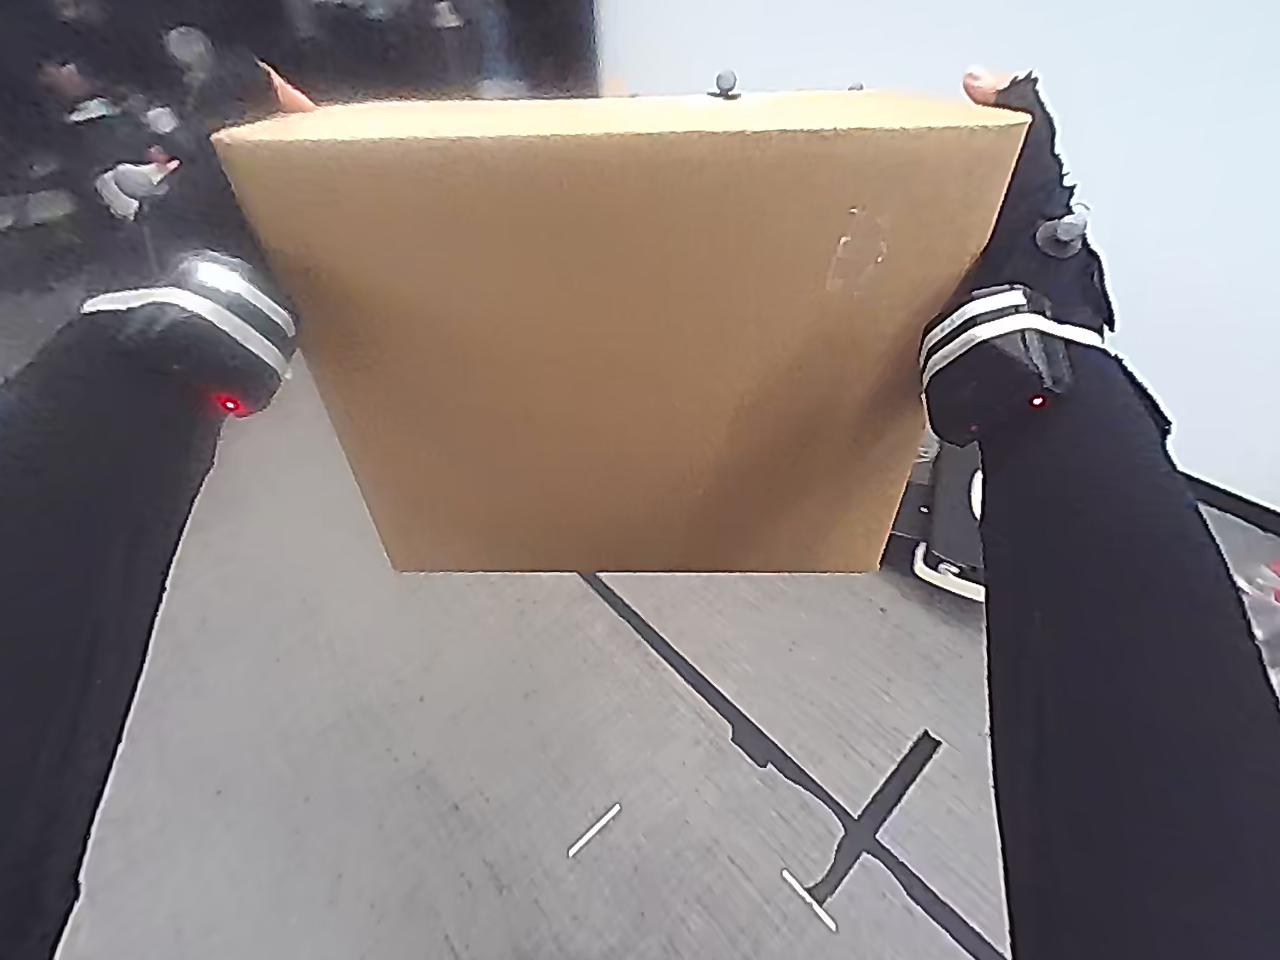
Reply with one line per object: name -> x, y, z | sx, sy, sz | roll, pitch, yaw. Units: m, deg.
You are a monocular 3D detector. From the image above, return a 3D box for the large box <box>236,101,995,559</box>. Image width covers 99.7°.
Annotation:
large box -> -0.013, -0.143, 0.484 | 0.408, 0.320, 0.320 | 0, 37, 0
